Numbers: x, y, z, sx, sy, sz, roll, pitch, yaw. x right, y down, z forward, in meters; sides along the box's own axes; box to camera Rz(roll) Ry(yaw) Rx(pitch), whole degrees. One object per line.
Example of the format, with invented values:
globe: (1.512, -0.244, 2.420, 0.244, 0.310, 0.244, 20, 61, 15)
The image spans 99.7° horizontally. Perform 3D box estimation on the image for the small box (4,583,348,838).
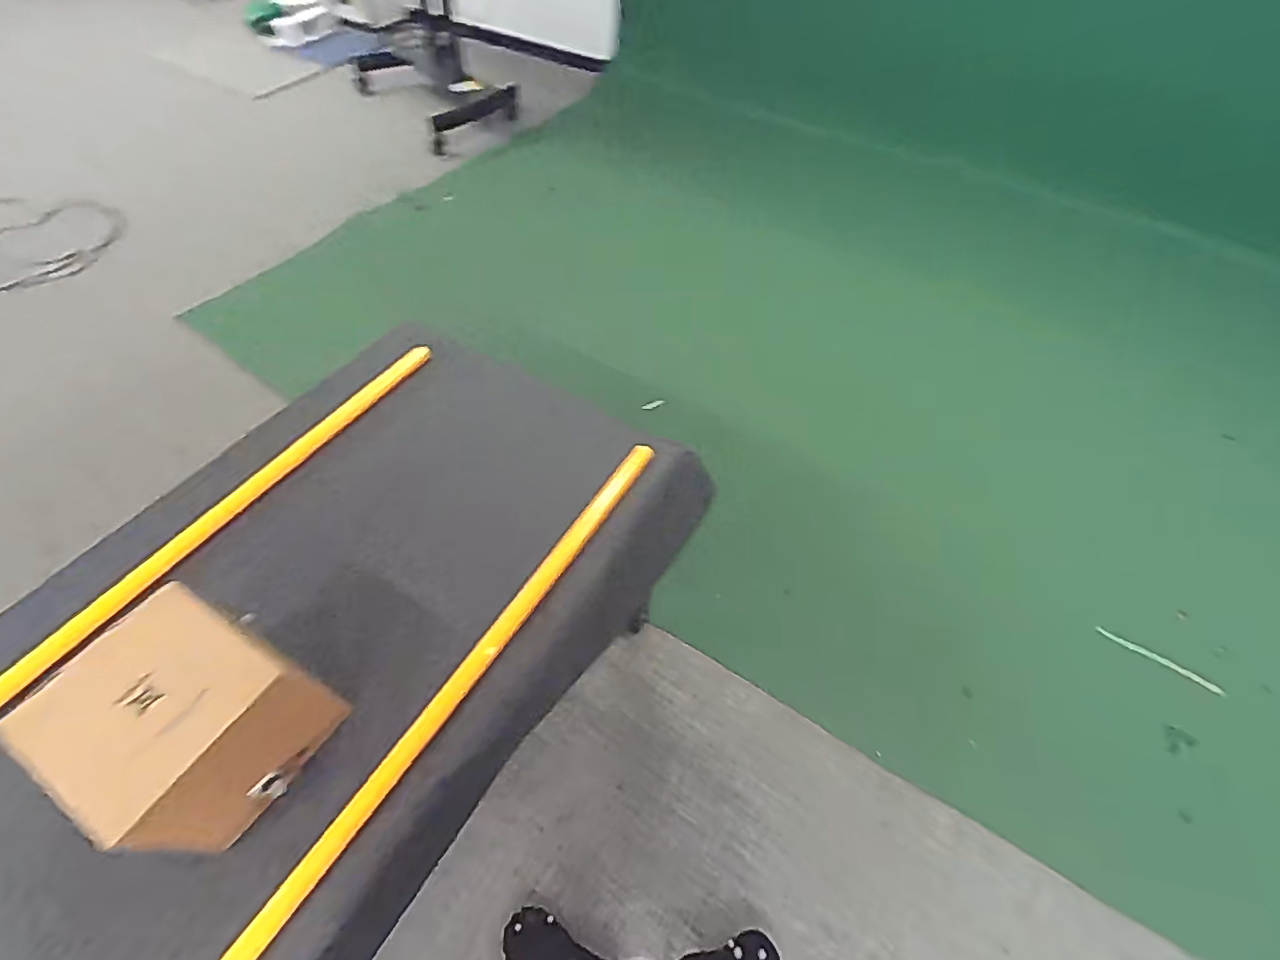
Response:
small box: (-0.453, 0.244, 0.562, 0.179, 0.176, 0.168, 27, 59, 15)
